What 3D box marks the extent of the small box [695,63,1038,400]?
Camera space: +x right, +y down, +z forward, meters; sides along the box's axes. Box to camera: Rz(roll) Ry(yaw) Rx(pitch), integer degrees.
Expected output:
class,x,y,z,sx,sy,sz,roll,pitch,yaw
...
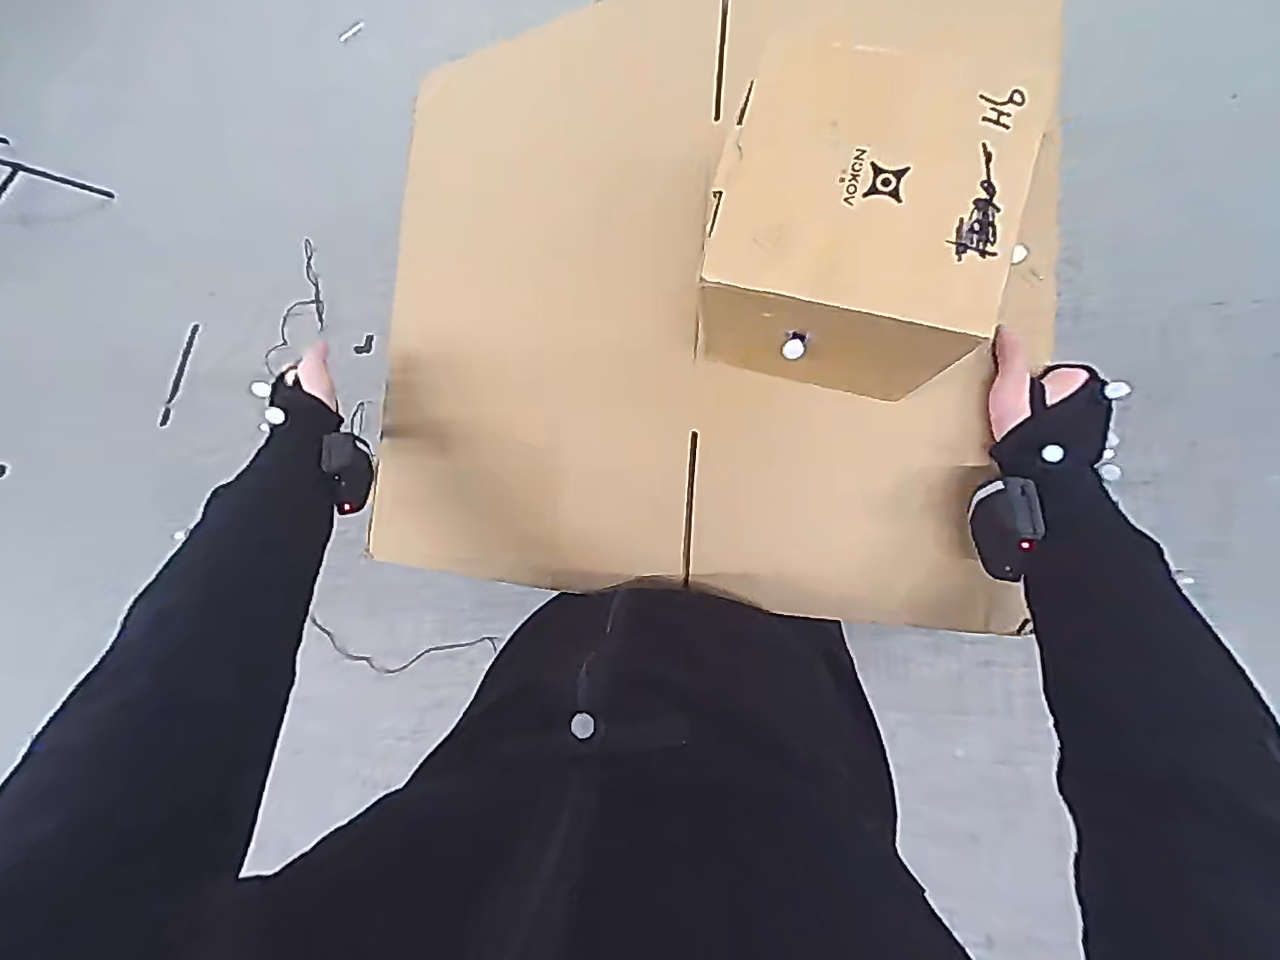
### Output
class,x,y,z,sx,sy,sz,roll,pitch,yaw
small box,0.151,-0.170,0.417,0.179,0.176,0.168,14,88,10
